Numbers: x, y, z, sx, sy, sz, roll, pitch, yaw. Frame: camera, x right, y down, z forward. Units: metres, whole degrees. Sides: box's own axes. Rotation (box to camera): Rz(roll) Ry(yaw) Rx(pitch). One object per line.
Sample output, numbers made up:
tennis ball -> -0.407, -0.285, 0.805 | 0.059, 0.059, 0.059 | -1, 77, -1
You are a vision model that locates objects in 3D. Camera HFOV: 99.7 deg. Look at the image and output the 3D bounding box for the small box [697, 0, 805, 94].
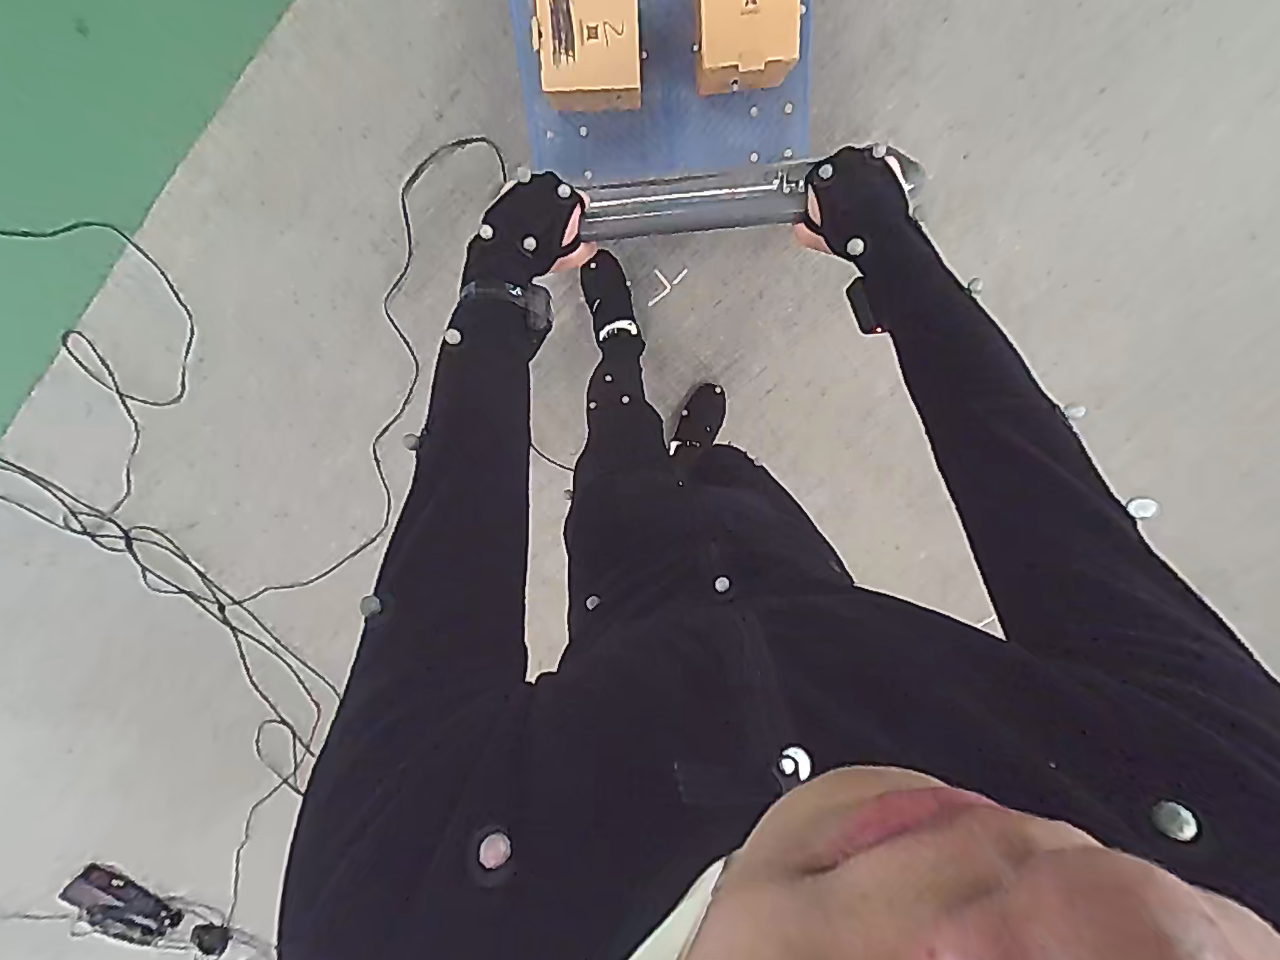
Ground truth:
small box -> 0.193, -0.826, 0.971 | 0.168, 0.176, 0.179 | -4, 114, 3
